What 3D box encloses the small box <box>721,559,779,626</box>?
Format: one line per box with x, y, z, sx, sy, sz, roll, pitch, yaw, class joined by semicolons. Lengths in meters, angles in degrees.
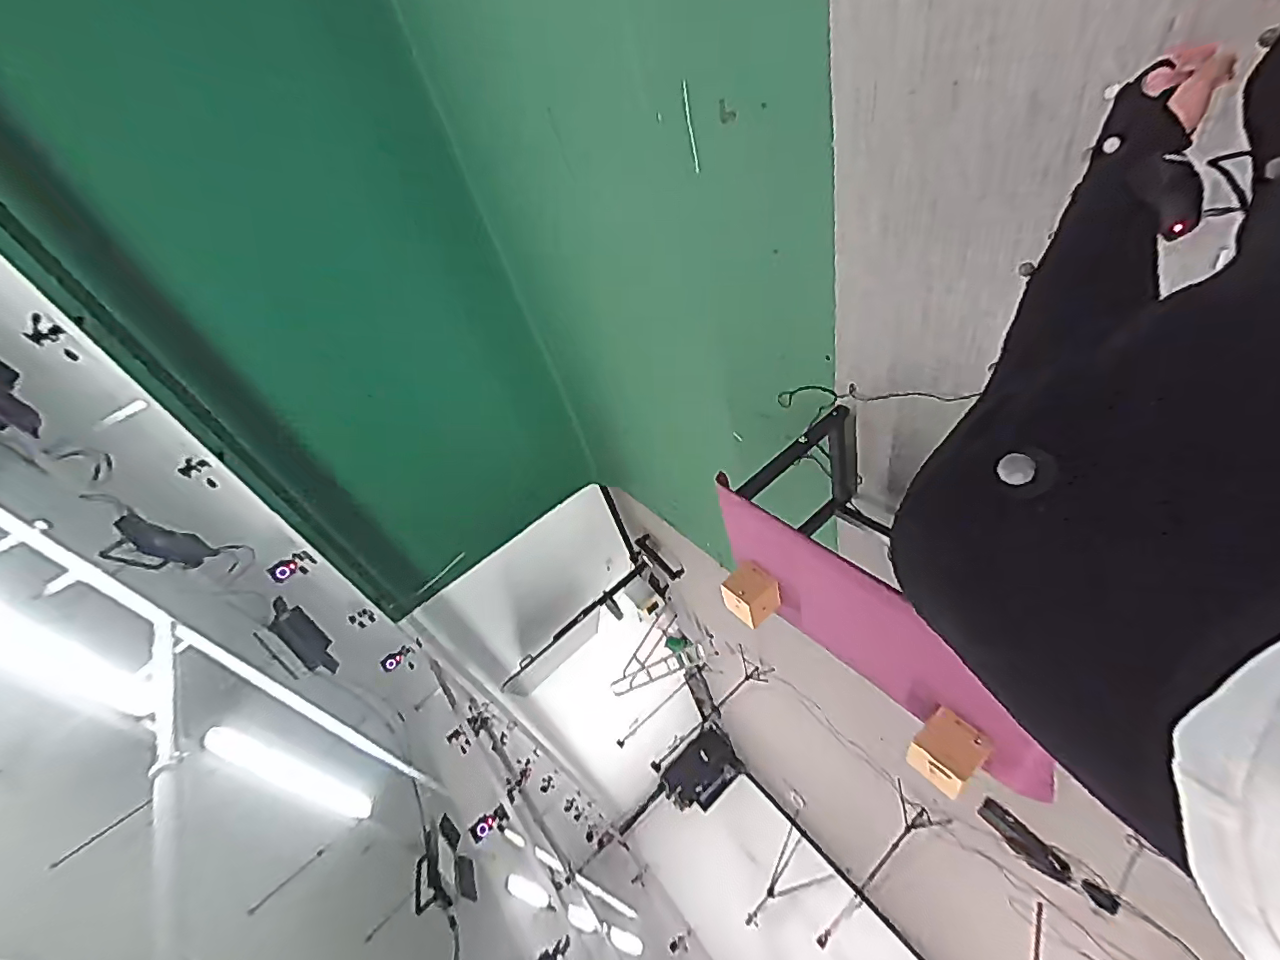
0.465;0.465;2.257;0.168;0.176;0.179;33;154;43;small box

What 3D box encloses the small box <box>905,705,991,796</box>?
0.980;0.855;1.720;0.168;0.176;0.179;37;155;41;small box
